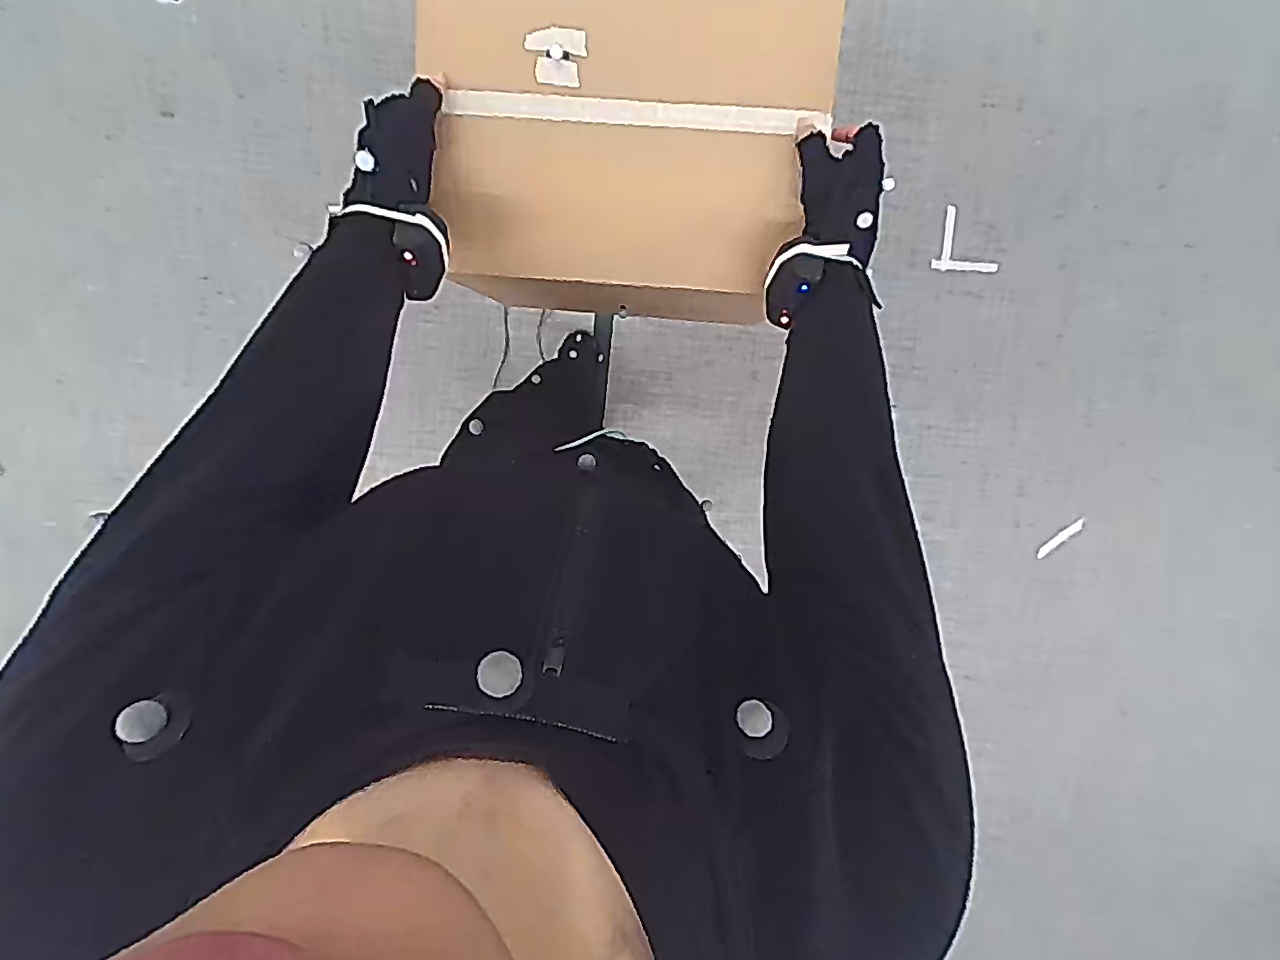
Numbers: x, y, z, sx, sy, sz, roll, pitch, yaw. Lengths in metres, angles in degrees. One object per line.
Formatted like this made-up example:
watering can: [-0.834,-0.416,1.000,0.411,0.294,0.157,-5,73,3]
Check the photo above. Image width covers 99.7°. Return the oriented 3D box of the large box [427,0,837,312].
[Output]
large box: [-0.009,-0.394,0.684,0.408,0.320,0.320,4,100,1]
